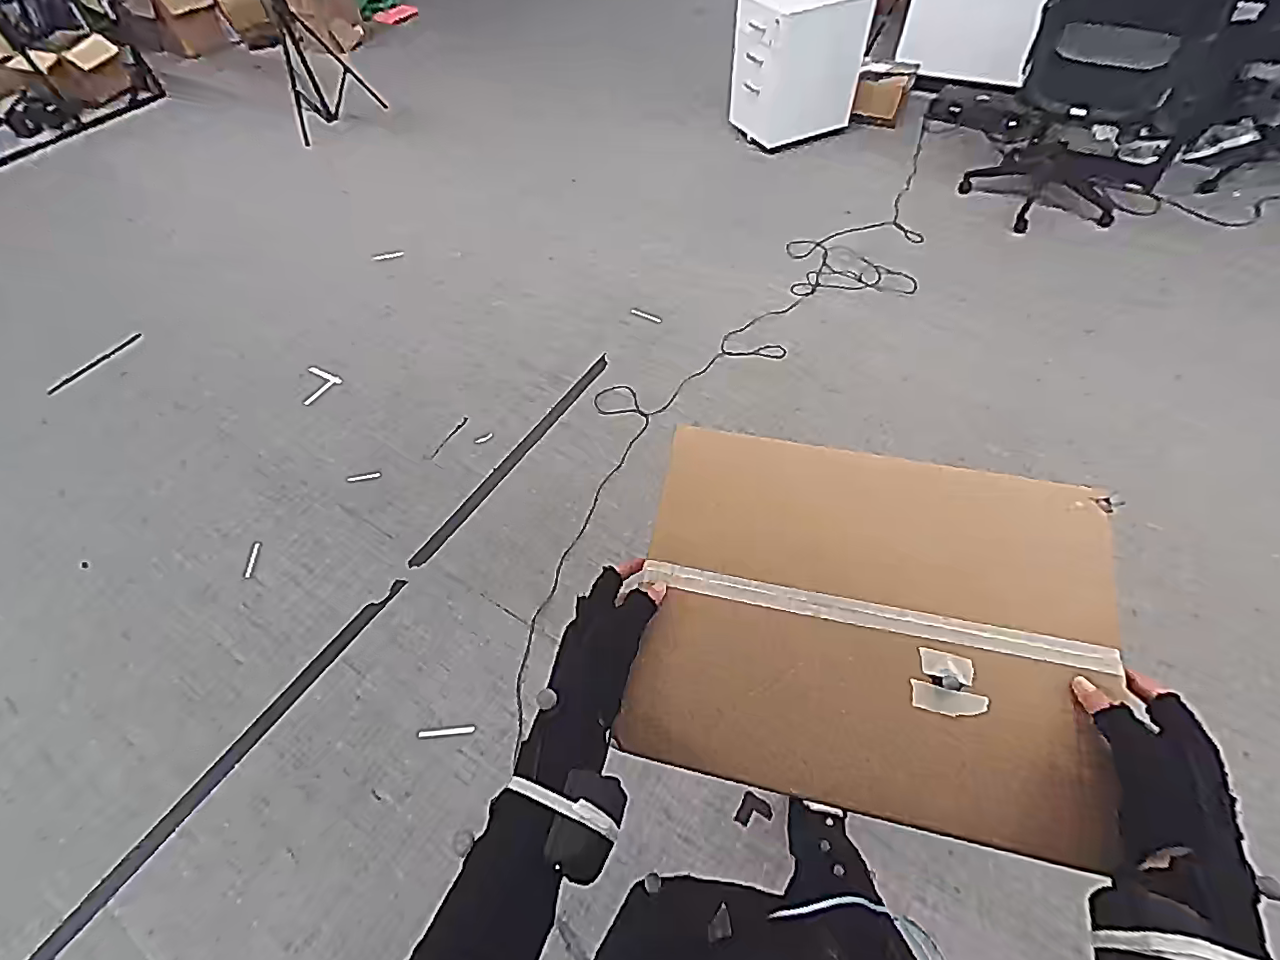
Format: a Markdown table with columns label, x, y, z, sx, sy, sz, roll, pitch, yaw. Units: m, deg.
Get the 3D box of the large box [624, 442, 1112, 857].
| label | x | y | z | sx | sy | sz | roll | pitch | yaw |
| --- | --- | --- | --- | --- | --- | --- | --- | --- | --- |
| large box | 0.218 | 0.181 | 0.640 | 0.408 | 0.320 | 0.320 | 10 | 71 | 9 |
